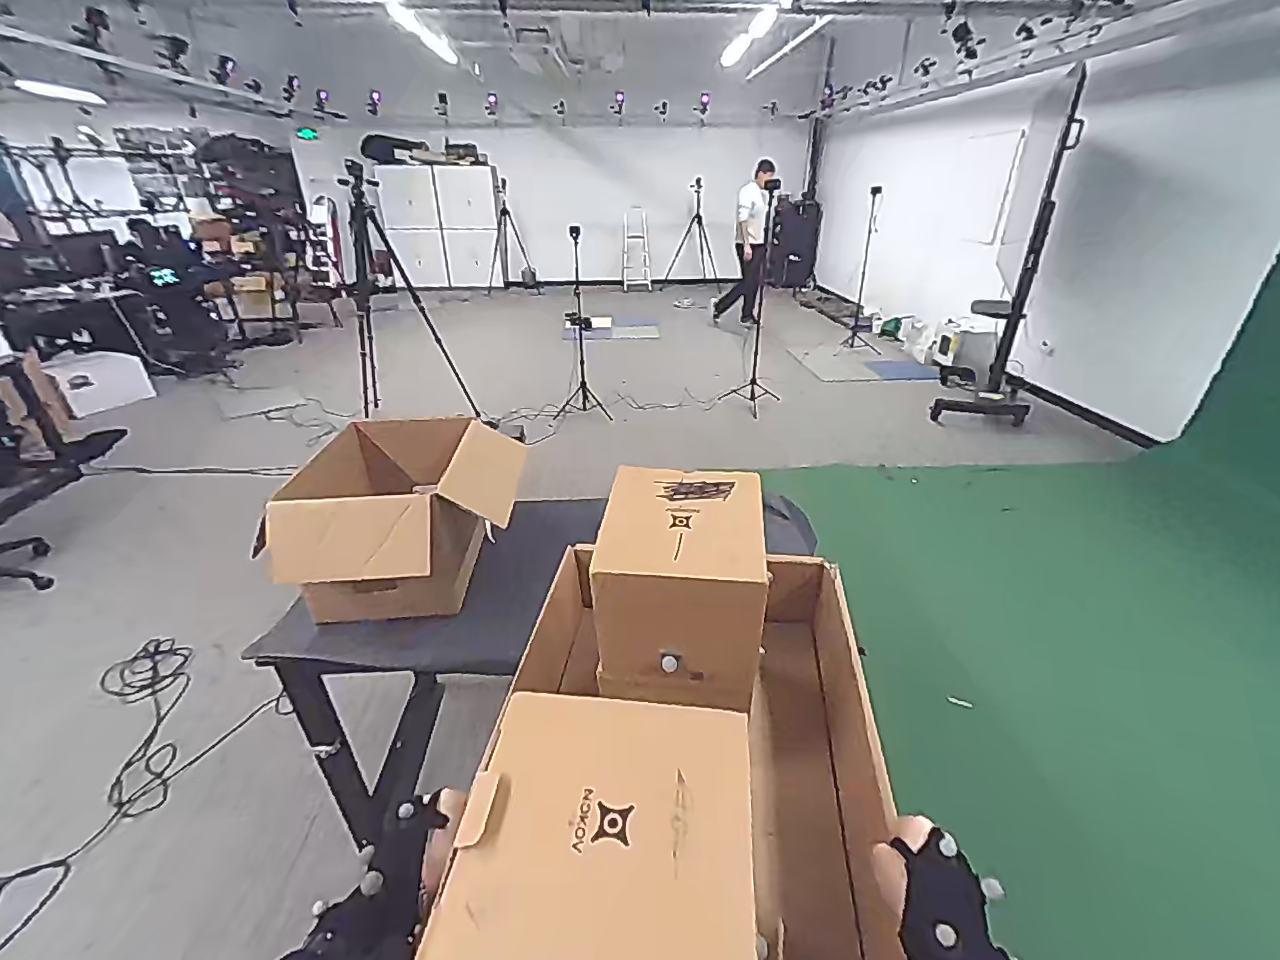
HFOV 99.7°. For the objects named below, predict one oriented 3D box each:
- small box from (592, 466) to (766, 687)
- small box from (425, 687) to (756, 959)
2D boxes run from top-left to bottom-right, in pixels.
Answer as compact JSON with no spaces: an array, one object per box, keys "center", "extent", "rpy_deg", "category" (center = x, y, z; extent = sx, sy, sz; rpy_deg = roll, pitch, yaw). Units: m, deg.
[{"center":[0.048,0.103,0.613],"extent":[0.168,0.176,0.179],"rpy_deg":[3,37,8],"category":"small box"},{"center":[-0.016,0.273,0.381],"extent":[0.179,0.176,0.168],"rpy_deg":[3,35,6],"category":"small box"}]
